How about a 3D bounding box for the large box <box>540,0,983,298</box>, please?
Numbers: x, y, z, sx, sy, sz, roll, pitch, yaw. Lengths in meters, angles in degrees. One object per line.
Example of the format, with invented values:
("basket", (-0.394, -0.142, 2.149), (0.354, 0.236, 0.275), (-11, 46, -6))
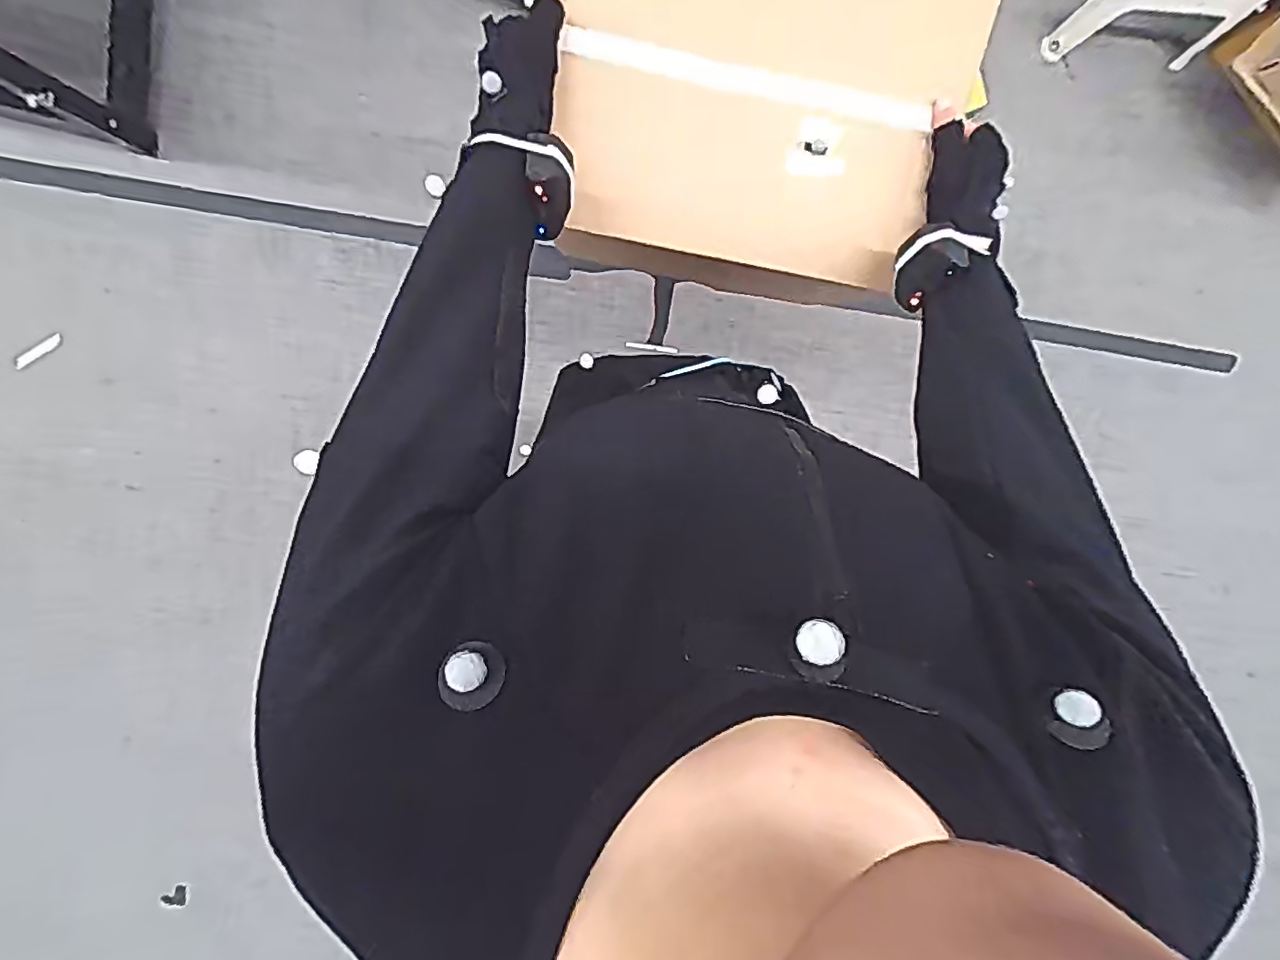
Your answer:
("large box", (0.106, -0.423, 0.673), (0.408, 0.320, 0.320), (9, 107, -5))
